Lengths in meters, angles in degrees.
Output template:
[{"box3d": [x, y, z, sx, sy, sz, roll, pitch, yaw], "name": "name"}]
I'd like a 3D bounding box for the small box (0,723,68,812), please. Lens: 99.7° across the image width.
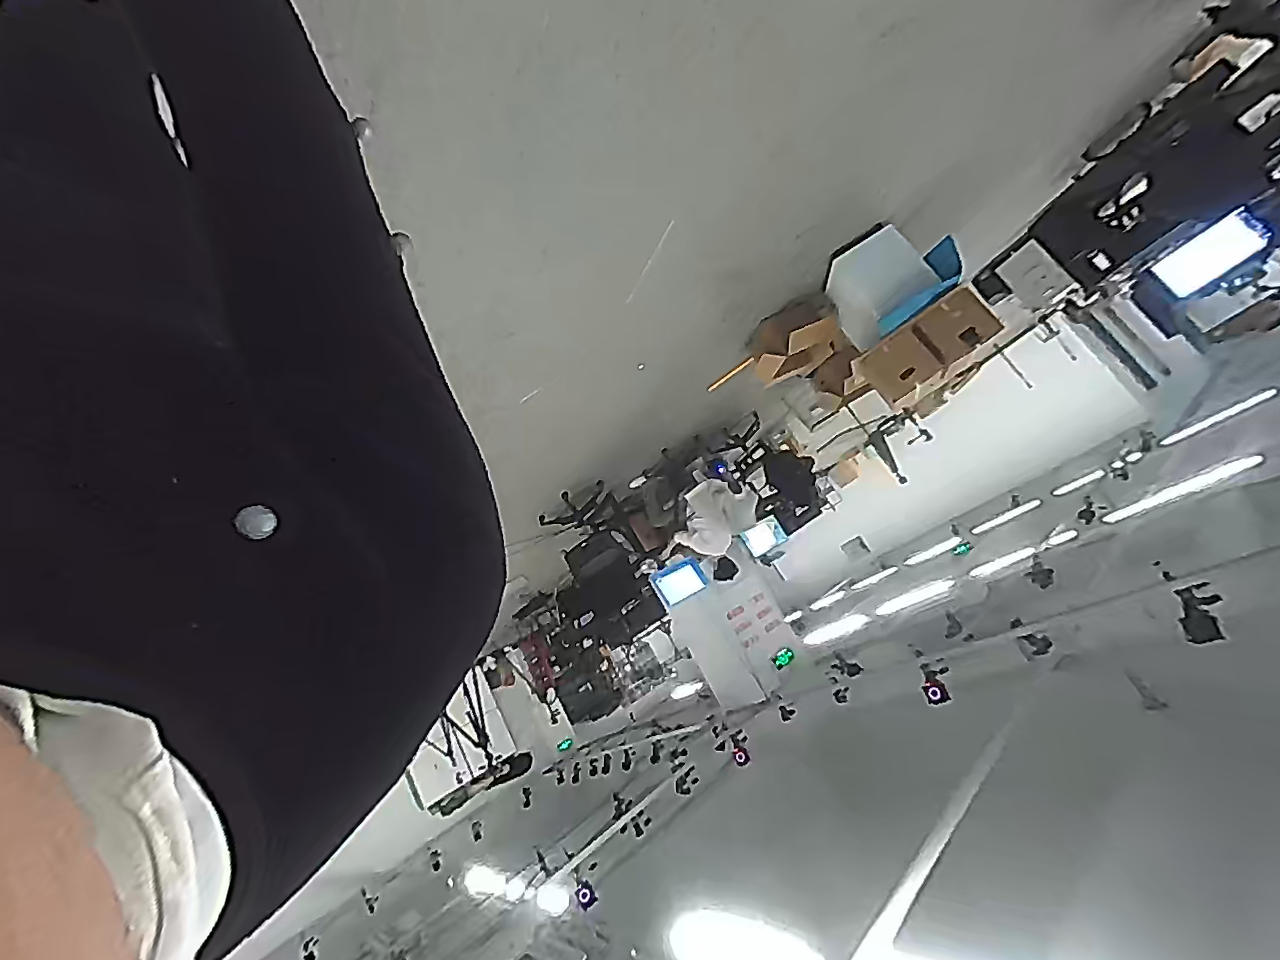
[{"box3d": [-1.744, 0.801, 1.497, 0.168, 0.176, 0.179, -22, 164, -38], "name": "small box"}]
